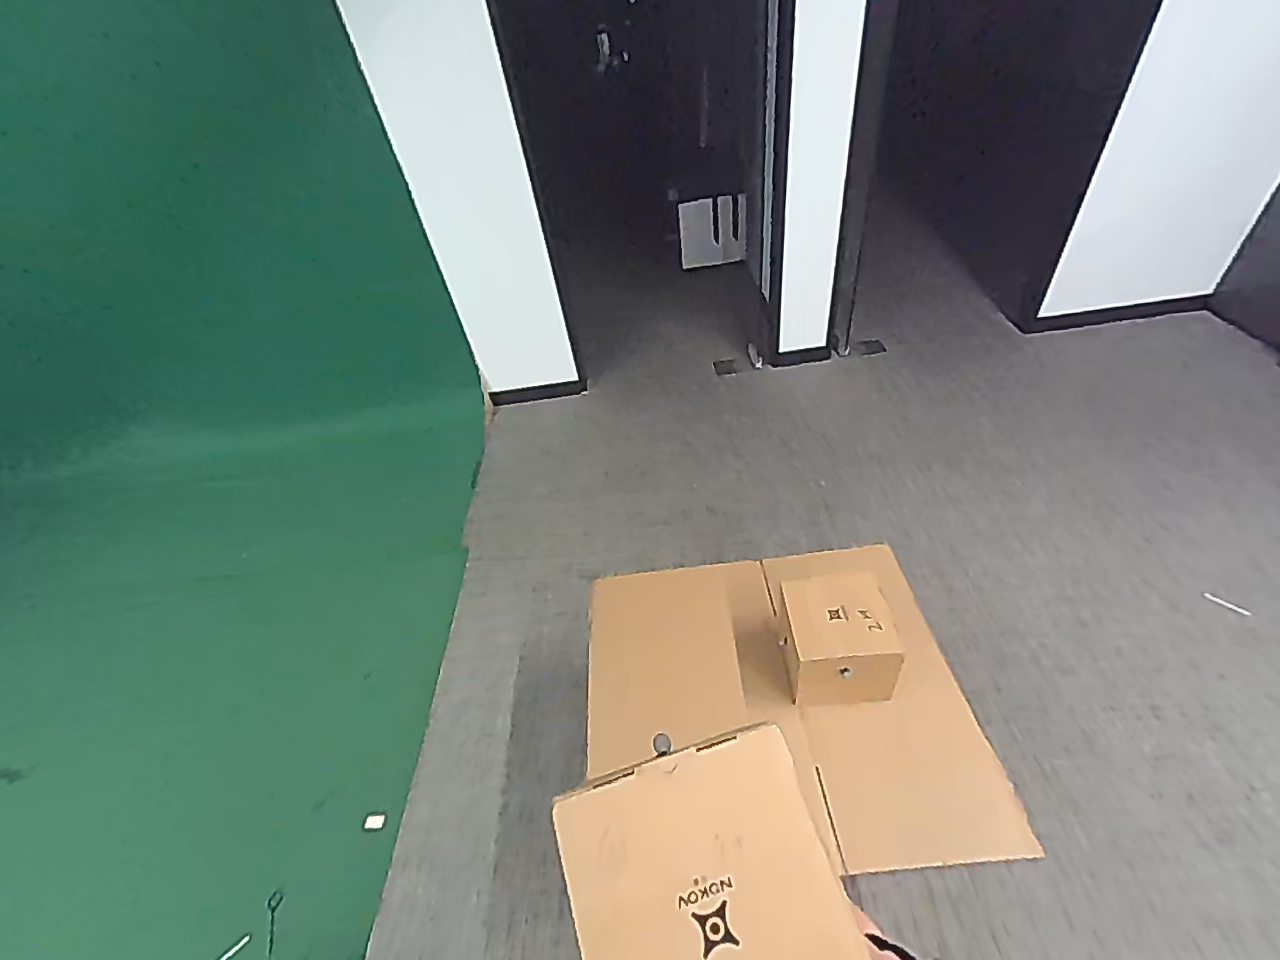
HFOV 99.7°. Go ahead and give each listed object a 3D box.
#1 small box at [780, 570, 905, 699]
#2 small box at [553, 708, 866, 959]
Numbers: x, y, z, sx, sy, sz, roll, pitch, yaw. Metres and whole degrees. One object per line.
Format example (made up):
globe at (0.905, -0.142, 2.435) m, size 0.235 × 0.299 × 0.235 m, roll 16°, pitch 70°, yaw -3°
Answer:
small box at (0.362, 0.290, 1.000) m, size 0.179 × 0.176 × 0.168 m, roll -7°, pitch 43°, yaw 6°
small box at (0.044, 0.294, 0.411) m, size 0.168 × 0.176 × 0.179 m, roll -17°, pitch 64°, yaw -5°
